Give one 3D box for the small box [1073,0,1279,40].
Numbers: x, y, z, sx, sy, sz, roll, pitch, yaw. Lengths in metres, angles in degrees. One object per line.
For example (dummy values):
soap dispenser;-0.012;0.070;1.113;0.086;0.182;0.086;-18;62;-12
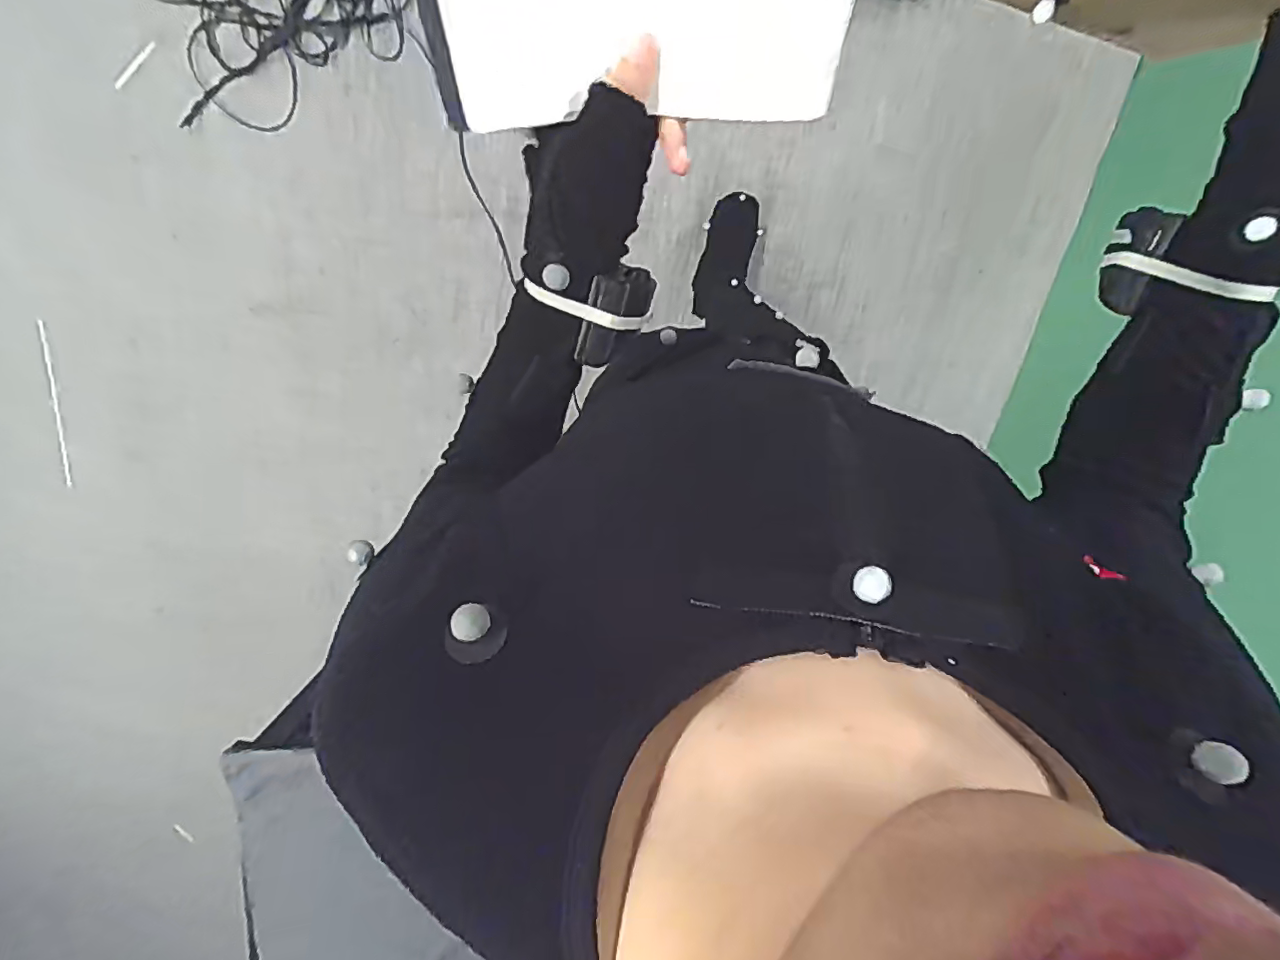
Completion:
small box;0.331;-0.355;0.263;0.168;0.176;0.179;4;116;-14
